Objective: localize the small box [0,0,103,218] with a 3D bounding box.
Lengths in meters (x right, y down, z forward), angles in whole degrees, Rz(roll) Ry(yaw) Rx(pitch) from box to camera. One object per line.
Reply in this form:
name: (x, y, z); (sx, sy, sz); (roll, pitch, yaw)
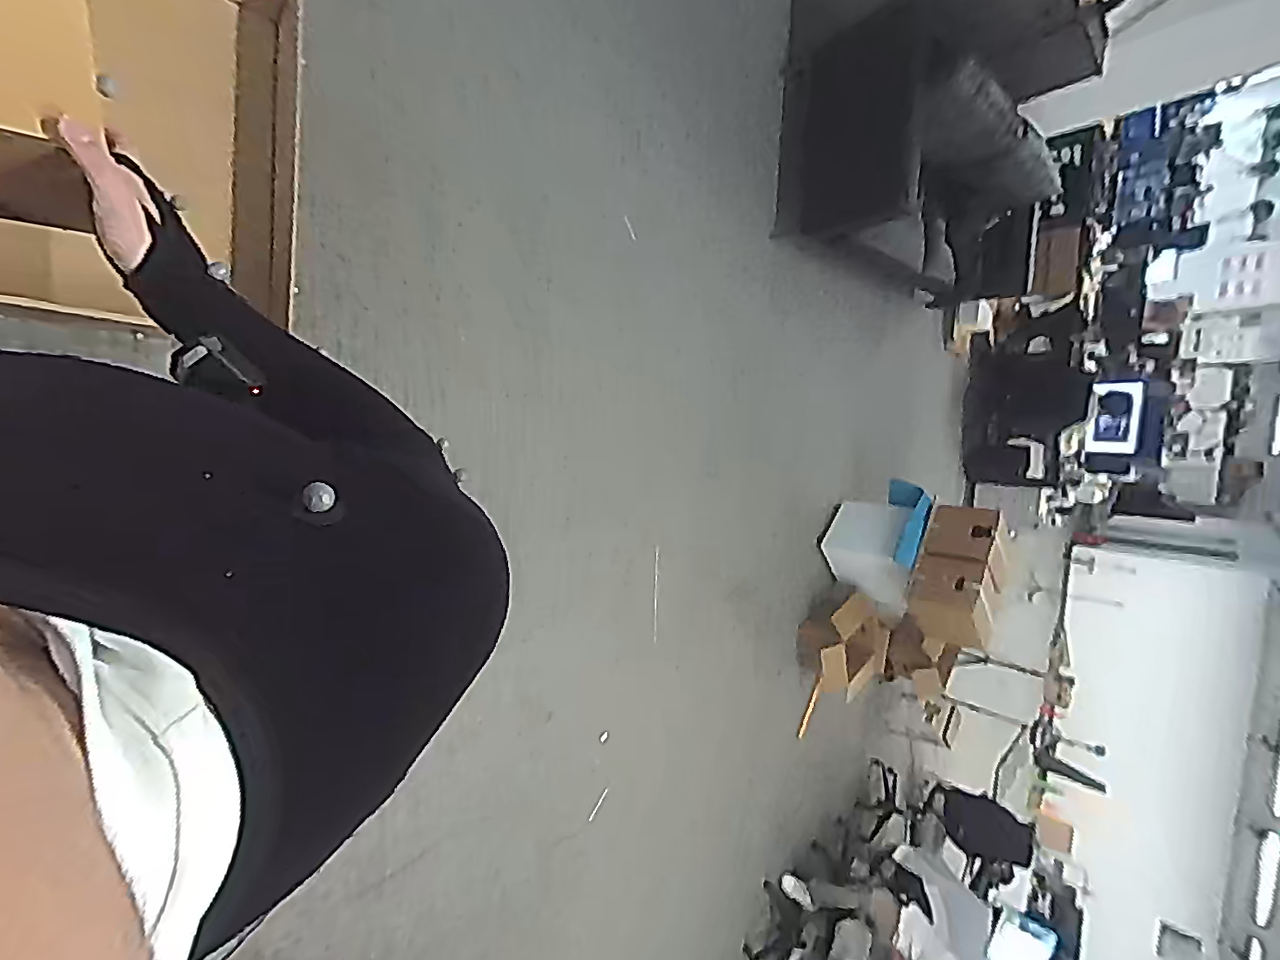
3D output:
small box: (-0.538, -0.331, 0.408); (0.168, 0.176, 0.179); (-9, 96, -48)
